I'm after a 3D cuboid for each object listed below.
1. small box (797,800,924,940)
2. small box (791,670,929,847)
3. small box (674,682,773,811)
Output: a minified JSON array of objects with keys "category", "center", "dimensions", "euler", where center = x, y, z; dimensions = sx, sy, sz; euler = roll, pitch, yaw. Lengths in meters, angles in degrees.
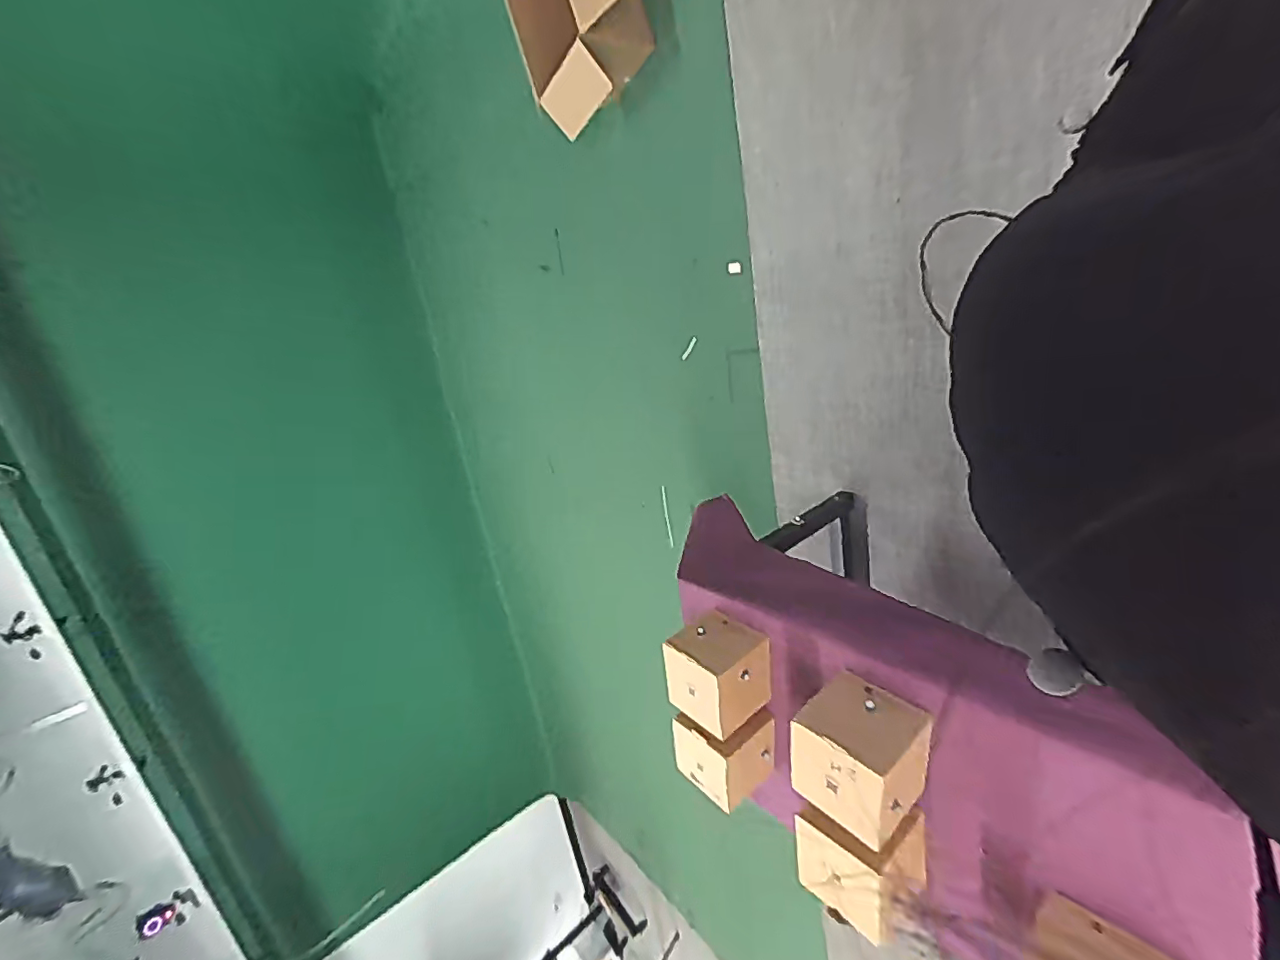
[{"category":"small box","center":[0.419,0.689,1.026],"dimensions":[0.168,0.176,0.179],"euler":[12,118,50]},{"category":"small box","center":[0.384,0.476,0.949],"dimensions":[0.168,0.176,0.179],"euler":[19,124,47]},{"category":"small box","center":[0.199,0.617,1.275],"dimensions":[0.168,0.176,0.179],"euler":[22,124,46]}]
